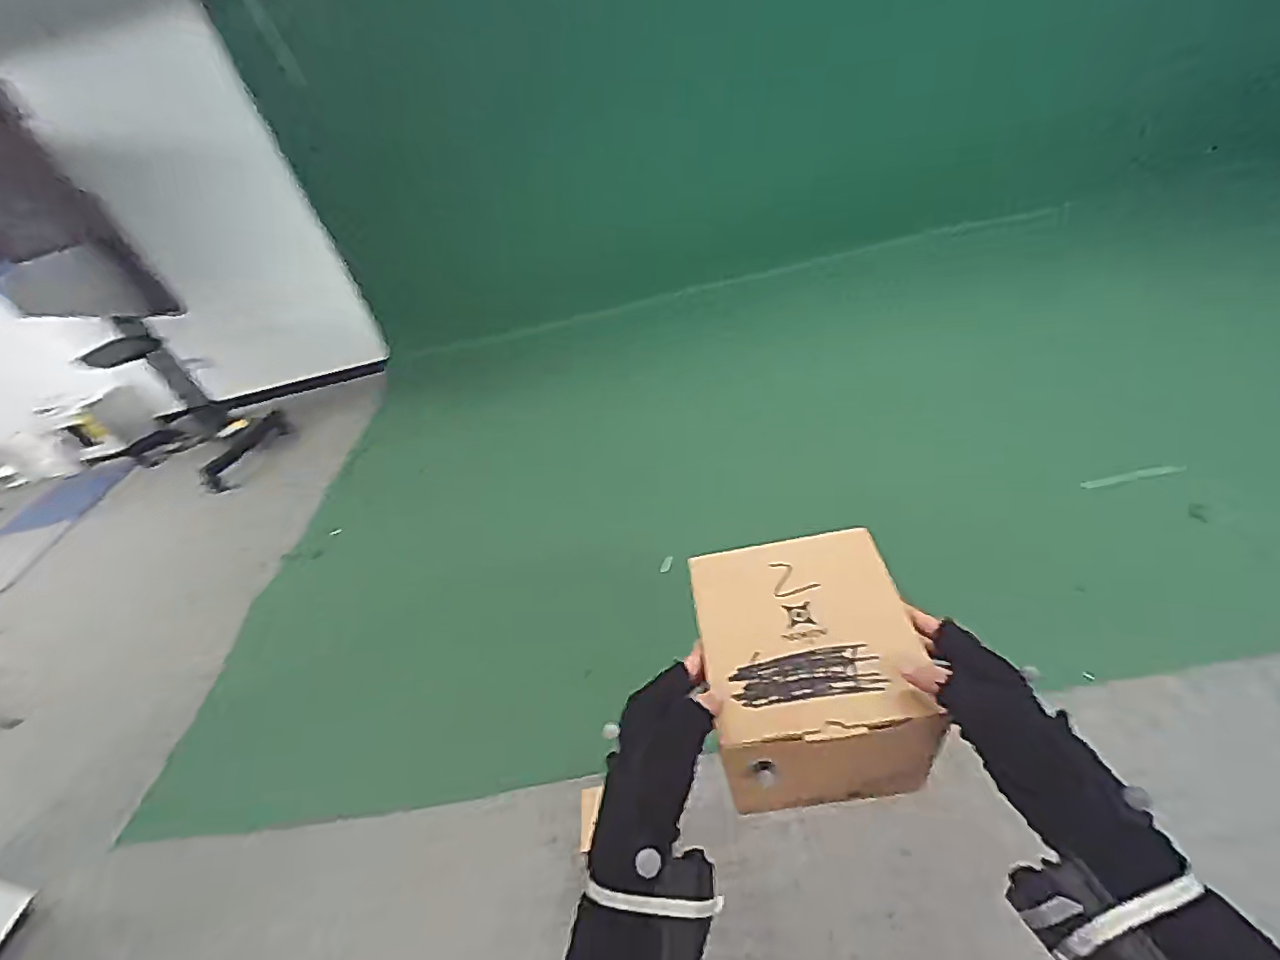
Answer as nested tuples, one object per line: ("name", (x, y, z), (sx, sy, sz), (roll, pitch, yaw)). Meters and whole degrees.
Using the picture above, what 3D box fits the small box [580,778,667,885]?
("small box", (-0.035, 0.836, 1.285), (0.179, 0.176, 0.168), (-12, 39, 5))
